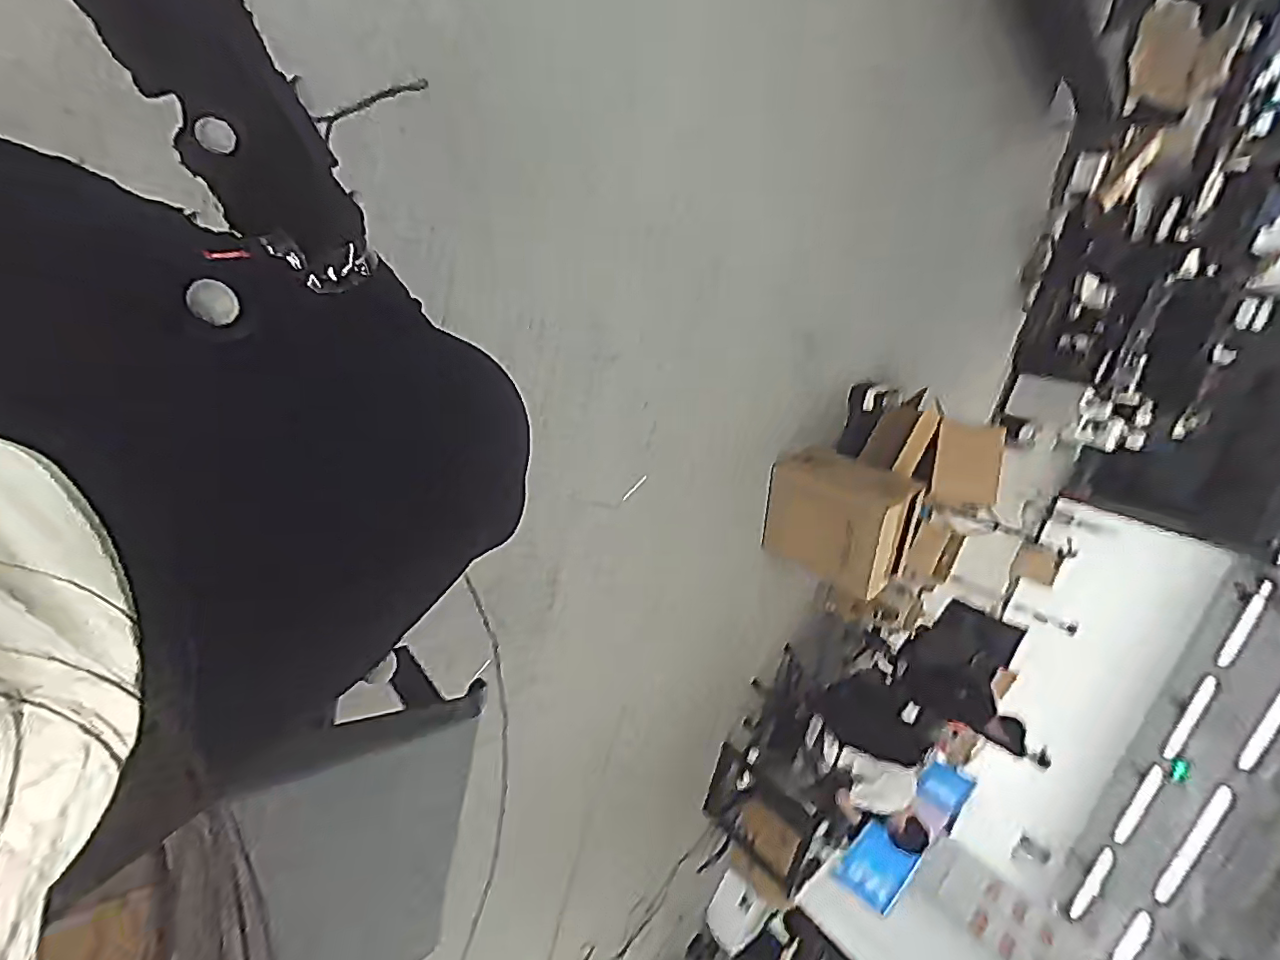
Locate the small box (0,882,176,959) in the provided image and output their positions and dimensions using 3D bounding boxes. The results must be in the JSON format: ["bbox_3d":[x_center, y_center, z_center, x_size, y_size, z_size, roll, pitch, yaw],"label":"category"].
[{"bbox_3d":[-0.657,0.628,0.621,0.179,0.176,0.168,1,110,-47],"label":"small box"}]
